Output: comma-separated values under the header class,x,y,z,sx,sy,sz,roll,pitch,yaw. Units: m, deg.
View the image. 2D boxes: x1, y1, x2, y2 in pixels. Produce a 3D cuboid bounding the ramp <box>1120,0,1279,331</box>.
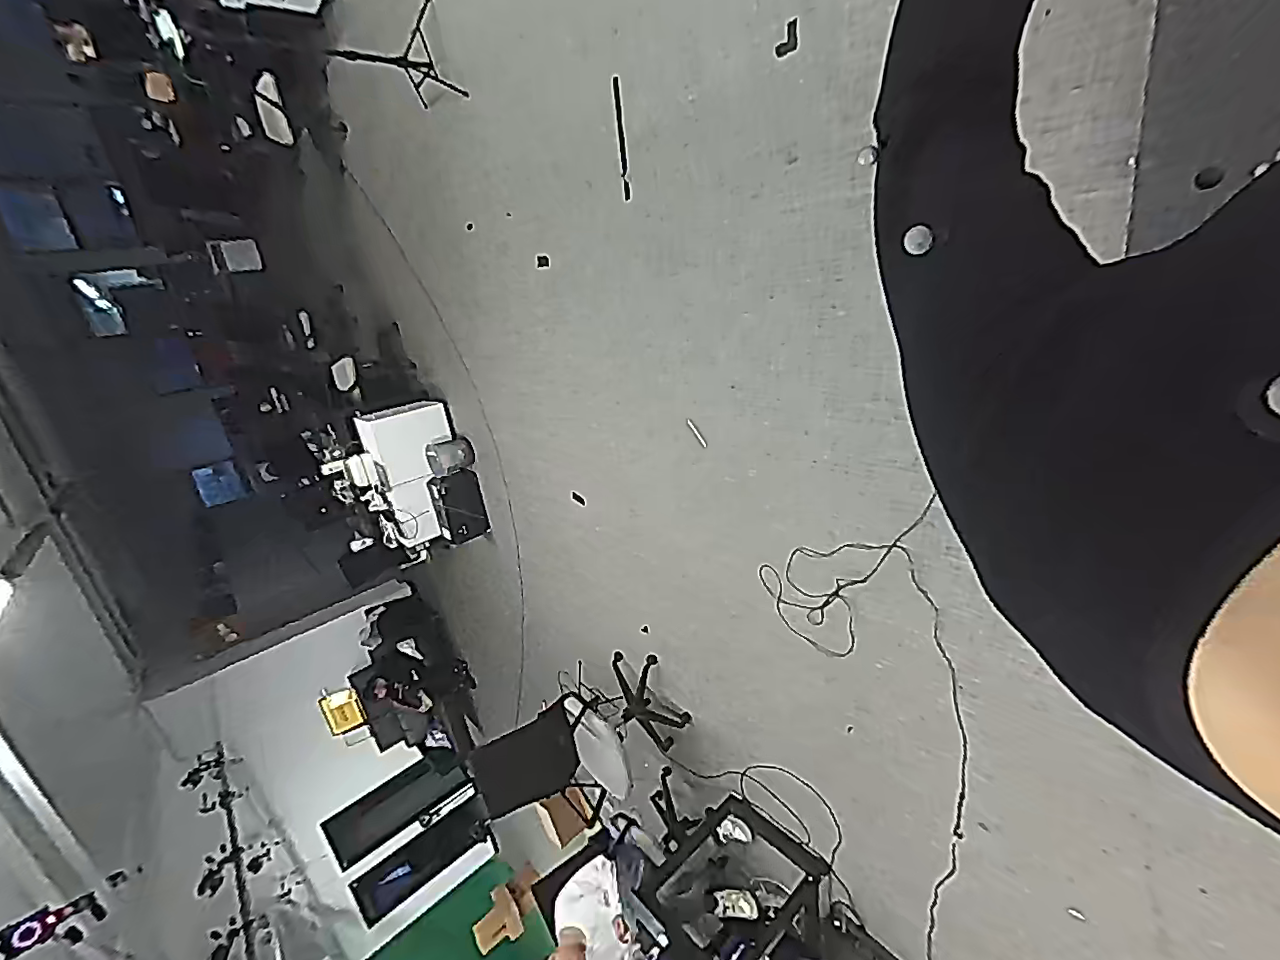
class,x,y,z,sx,sy,sz,roll,pitch,yaw
ramp,1.055,-0.706,0.763,0.509,0.206,0.991,12,118,47
